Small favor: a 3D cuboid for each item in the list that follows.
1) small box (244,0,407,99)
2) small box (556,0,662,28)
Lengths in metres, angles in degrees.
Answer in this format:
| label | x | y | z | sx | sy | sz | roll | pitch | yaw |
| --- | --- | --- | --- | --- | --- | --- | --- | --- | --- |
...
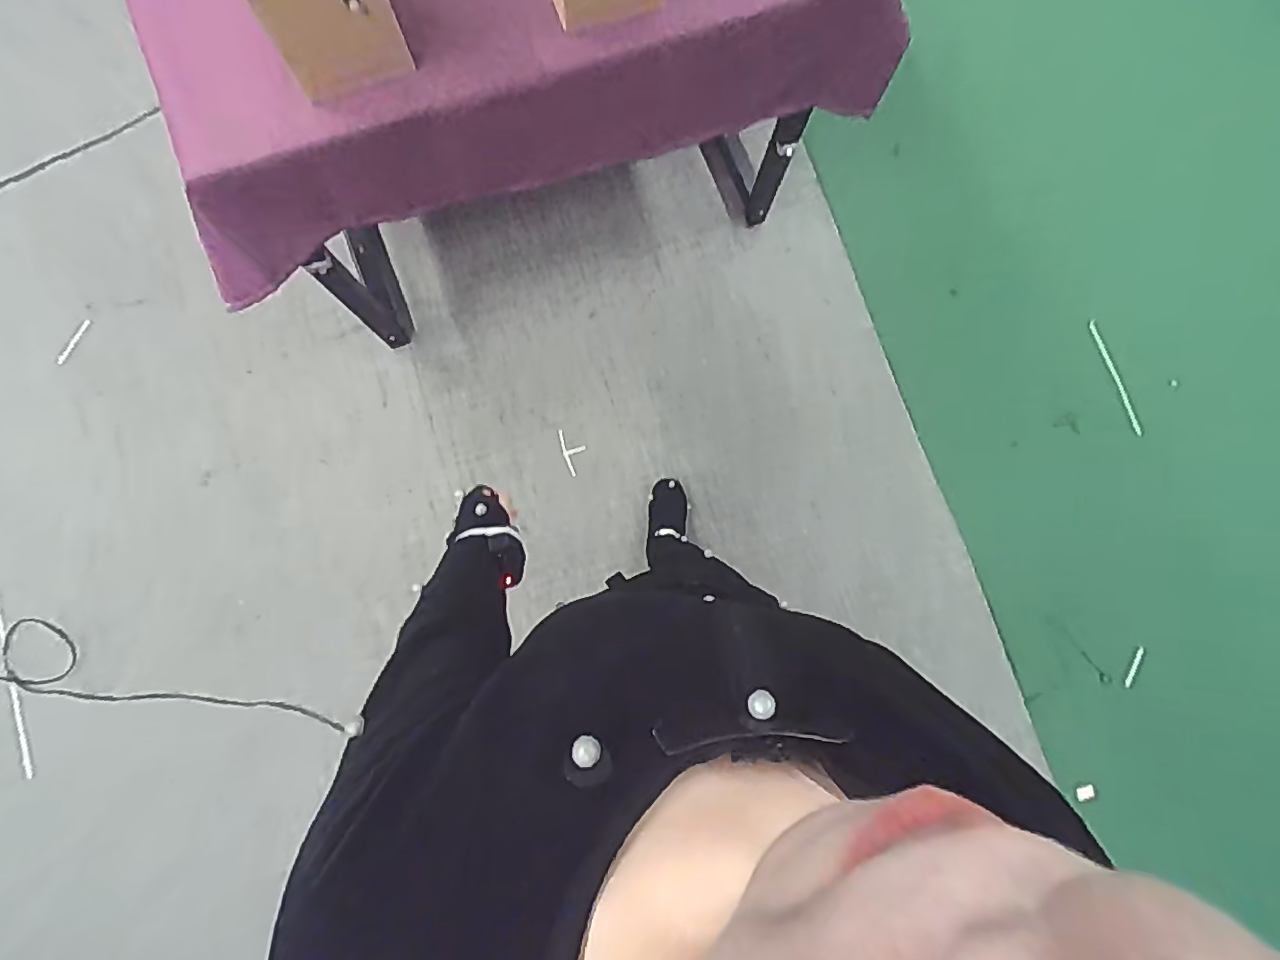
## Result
| label | x | y | z | sx | sy | sz | roll | pitch | yaw |
| --- | --- | --- | --- | --- | --- | --- | --- | --- | --- |
| small box | -0.463 | -0.710 | 0.788 | 0.179 | 0.176 | 0.168 | -21 | 83 | -6 |
| small box | -0.064 | -0.846 | 0.827 | 0.179 | 0.176 | 0.168 | -19 | 83 | -6 |
